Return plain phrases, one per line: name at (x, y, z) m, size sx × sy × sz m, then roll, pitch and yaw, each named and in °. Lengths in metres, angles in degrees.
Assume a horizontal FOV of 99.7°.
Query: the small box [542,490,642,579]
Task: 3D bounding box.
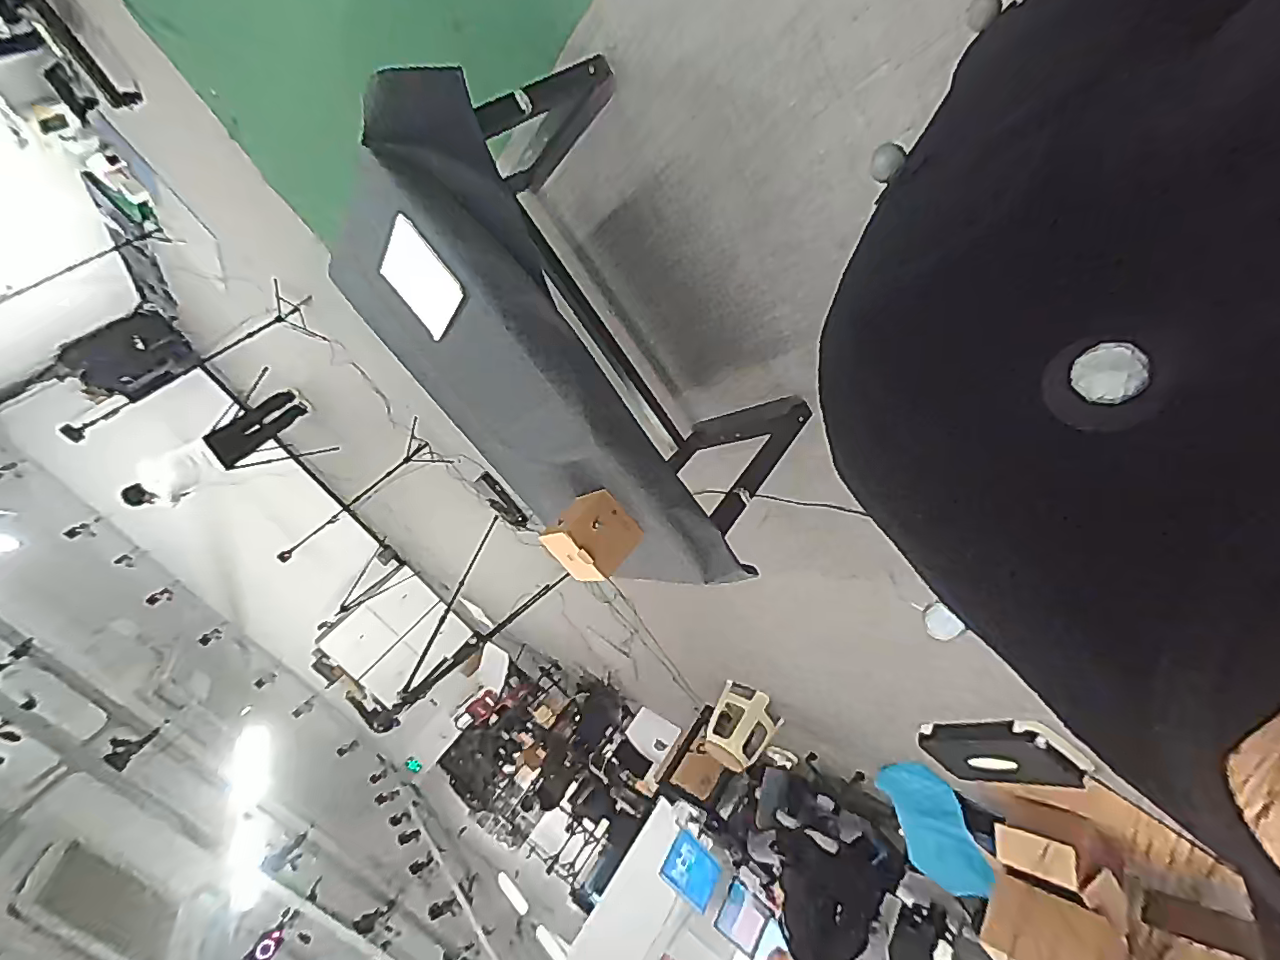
small box at (-0.119, 0.142, 1.419) m, size 0.168 × 0.176 × 0.179 m, roll 52°, pitch 151°, yaw -13°
